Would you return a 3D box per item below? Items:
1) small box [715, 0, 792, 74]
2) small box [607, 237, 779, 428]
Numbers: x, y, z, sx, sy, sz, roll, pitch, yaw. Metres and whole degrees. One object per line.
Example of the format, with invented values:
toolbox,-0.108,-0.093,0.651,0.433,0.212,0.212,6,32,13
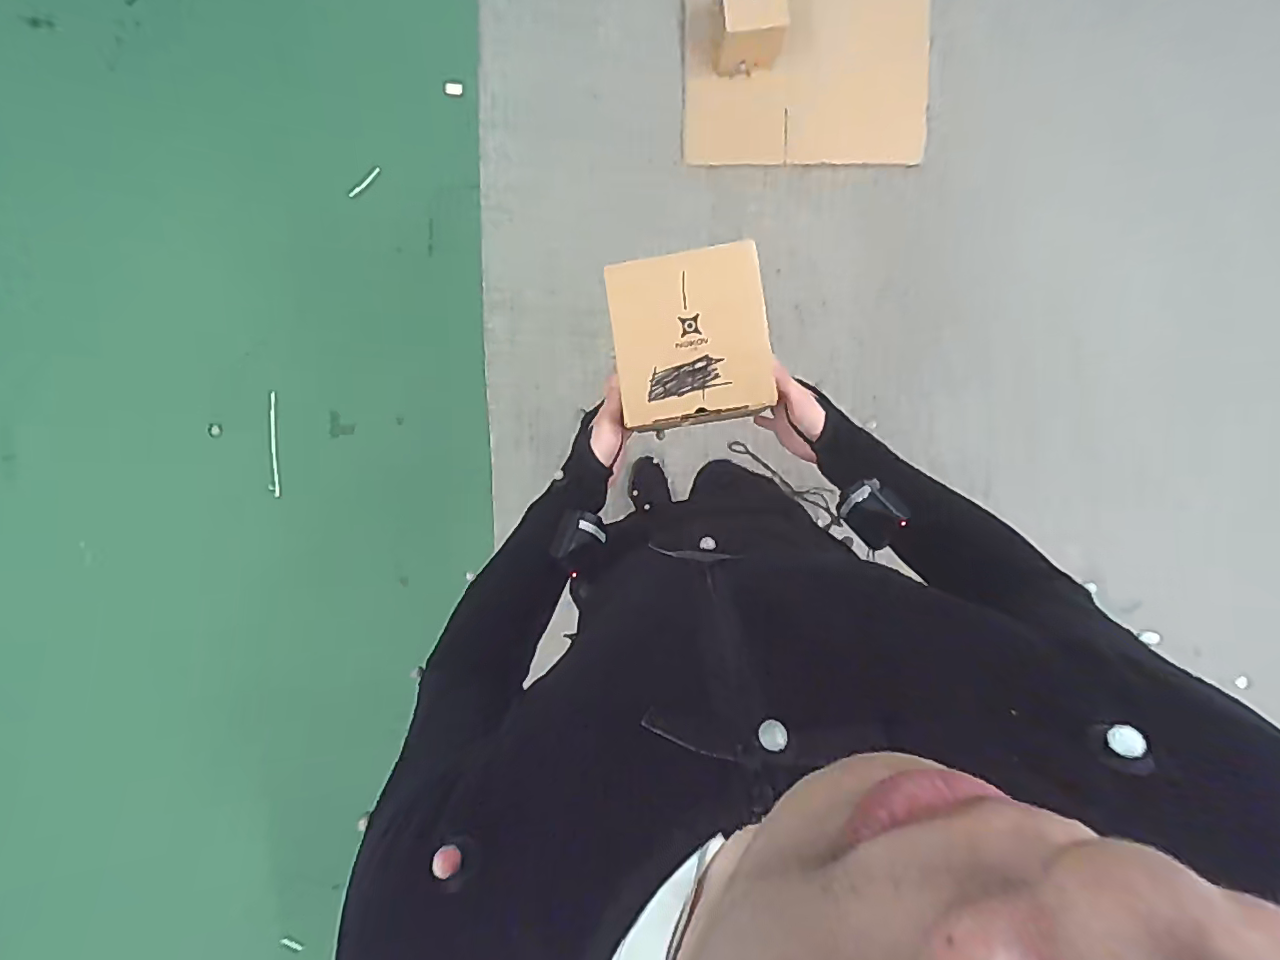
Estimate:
small box,0.298,-1.235,1.443,0.168,0.176,0.179,-6,94,1
small box,0.062,-0.158,0.646,0.168,0.176,0.179,-7,90,5
